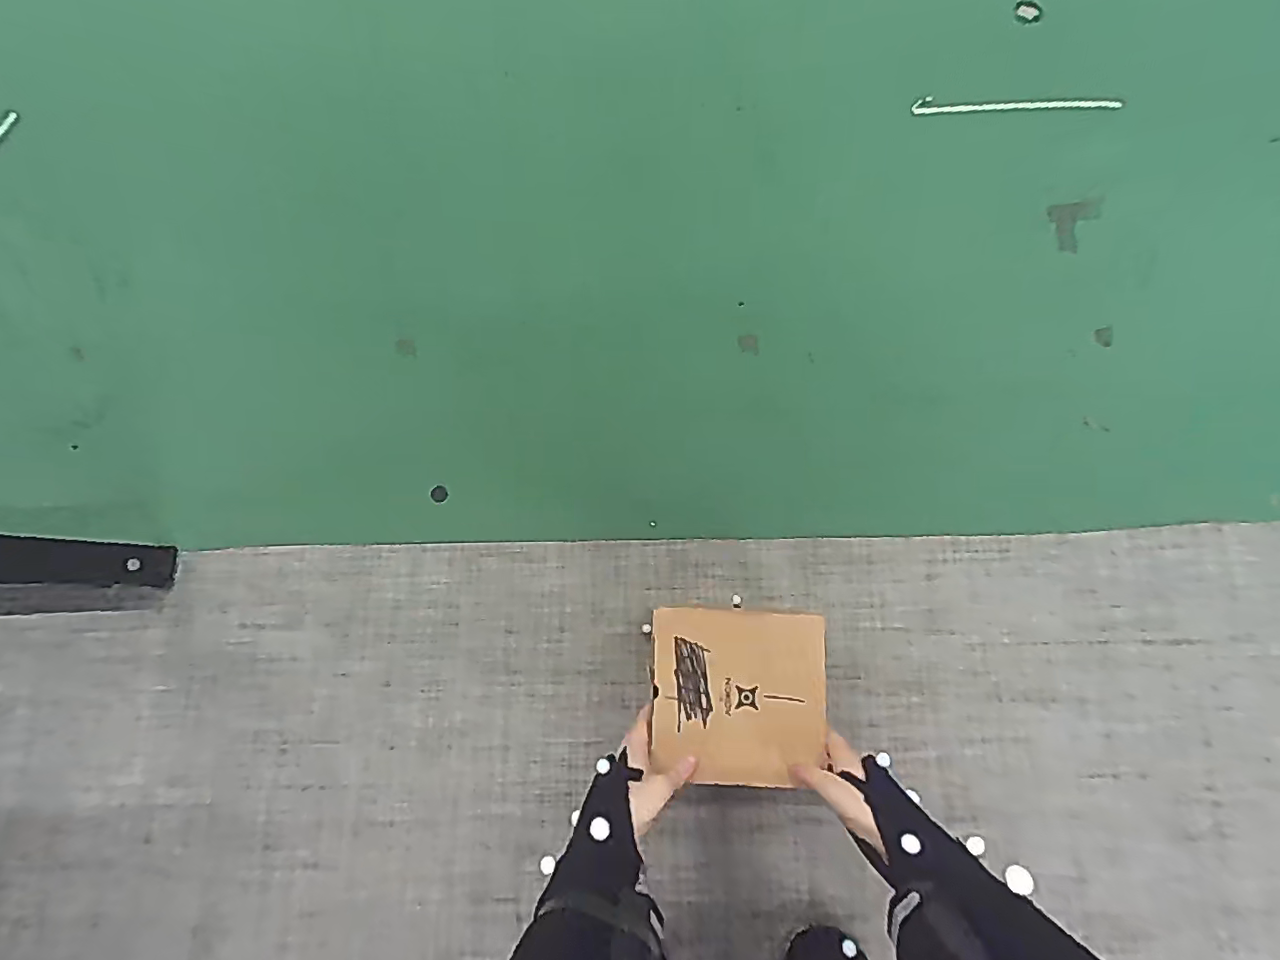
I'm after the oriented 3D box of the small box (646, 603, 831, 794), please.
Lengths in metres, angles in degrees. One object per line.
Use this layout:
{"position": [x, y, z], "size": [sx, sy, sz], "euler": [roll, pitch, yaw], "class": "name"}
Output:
{"position": [0.098, 0.227, 0.603], "size": [0.179, 0.176, 0.168], "euler": [2, 79, 2], "class": "small box"}
